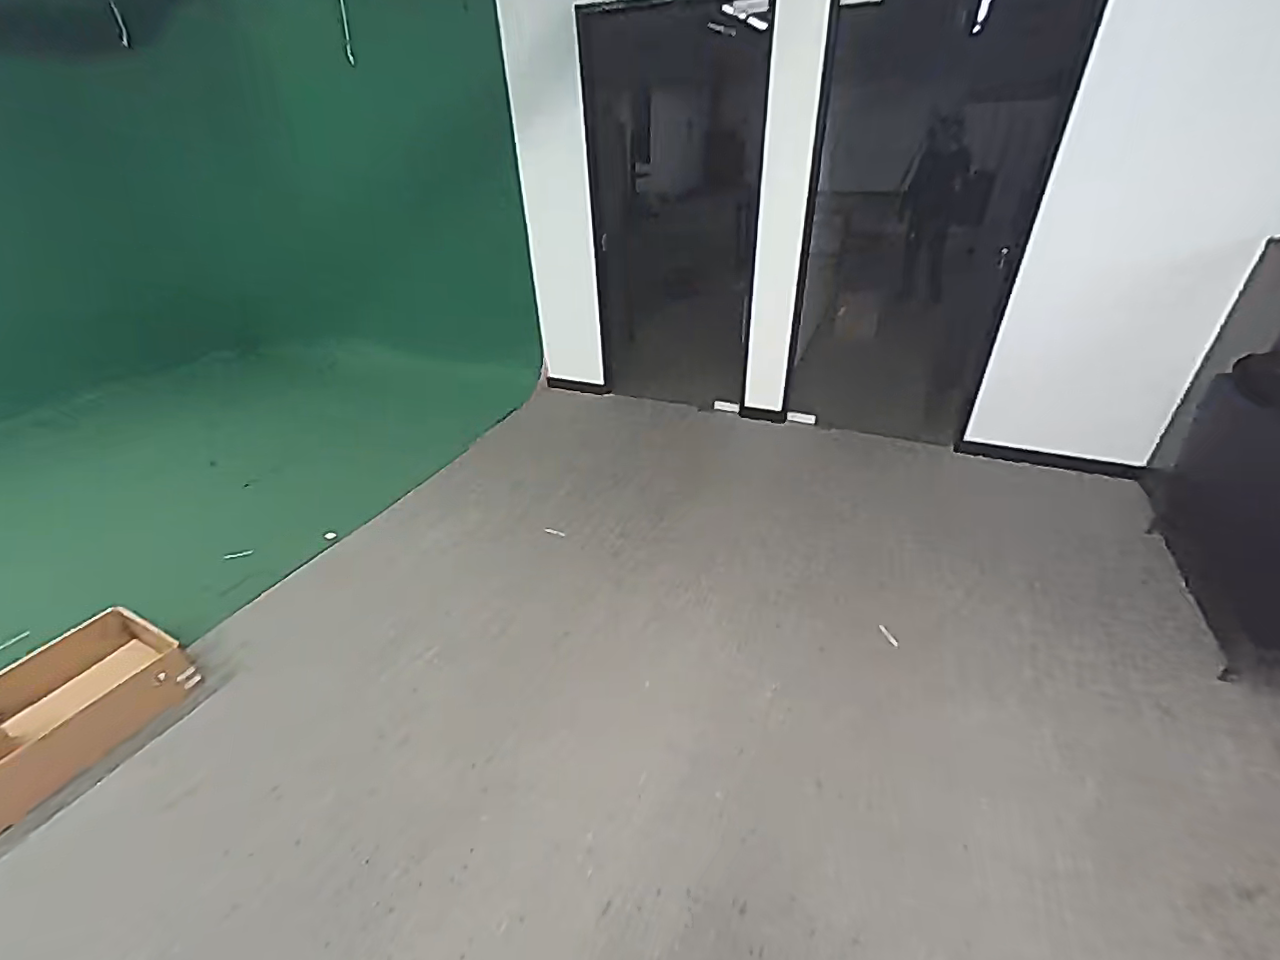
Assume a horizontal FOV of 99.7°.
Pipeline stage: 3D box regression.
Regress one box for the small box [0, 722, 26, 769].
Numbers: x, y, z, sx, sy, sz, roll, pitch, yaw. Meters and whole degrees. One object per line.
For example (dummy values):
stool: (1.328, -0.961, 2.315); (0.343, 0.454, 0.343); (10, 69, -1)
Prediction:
small box: (-1.870, 0.736, 1.476); (0.168, 0.176, 0.179); (16, 37, 23)
